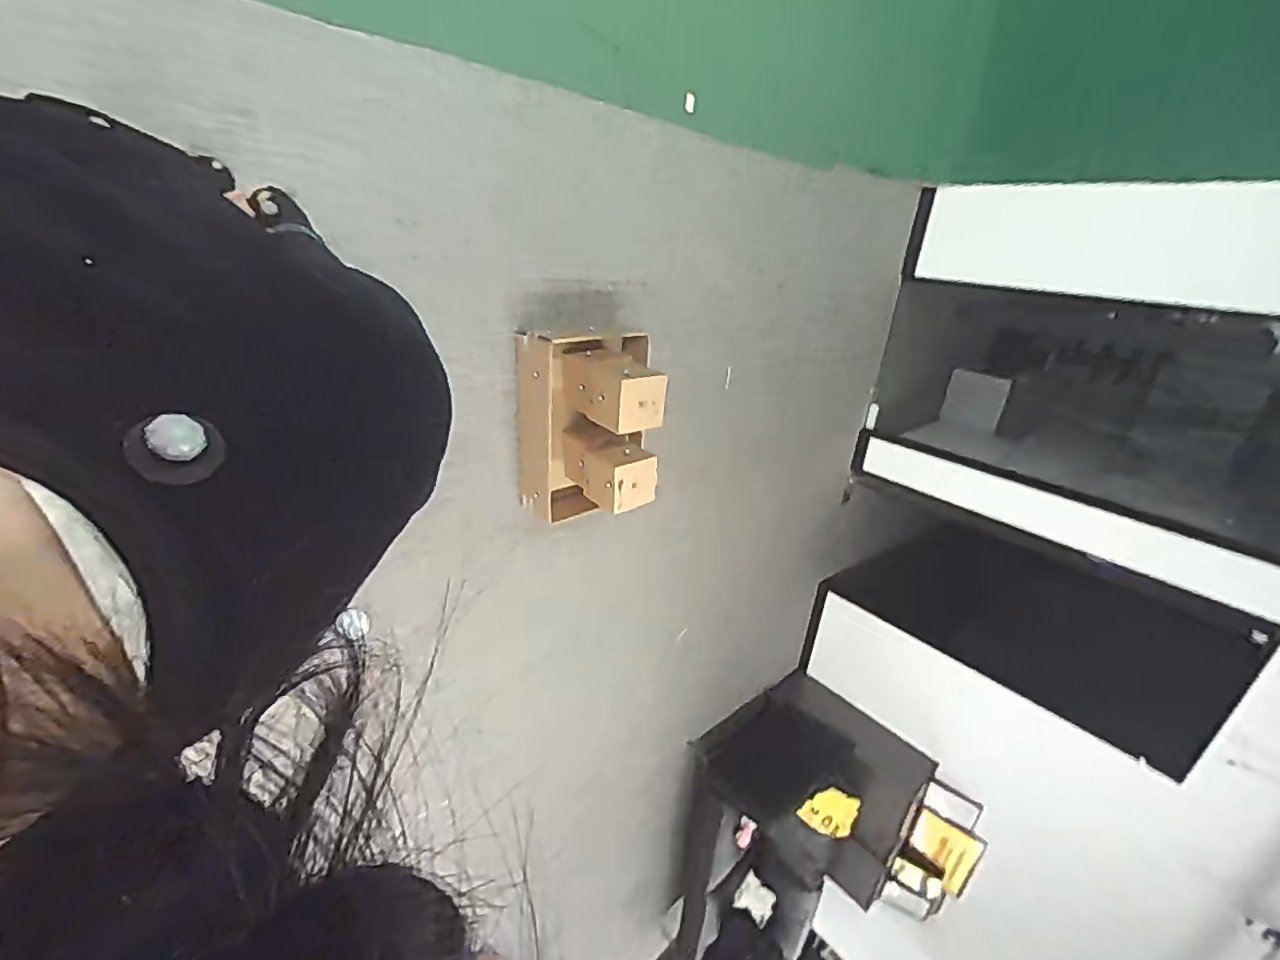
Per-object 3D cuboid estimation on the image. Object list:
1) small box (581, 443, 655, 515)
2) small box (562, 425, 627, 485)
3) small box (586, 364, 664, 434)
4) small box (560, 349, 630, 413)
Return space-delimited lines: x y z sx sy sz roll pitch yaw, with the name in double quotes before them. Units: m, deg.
"small box" -0.074 -0.011 1.765 0.179 0.176 0.168 -18 122 -37
"small box" -0.160 -0.081 1.887 0.168 0.176 0.179 -21 125 -34
"small box" -0.051 -0.253 1.657 0.179 0.176 0.168 -15 122 -37
"small box" -0.149 -0.324 1.769 0.168 0.176 0.179 -20 125 -35
